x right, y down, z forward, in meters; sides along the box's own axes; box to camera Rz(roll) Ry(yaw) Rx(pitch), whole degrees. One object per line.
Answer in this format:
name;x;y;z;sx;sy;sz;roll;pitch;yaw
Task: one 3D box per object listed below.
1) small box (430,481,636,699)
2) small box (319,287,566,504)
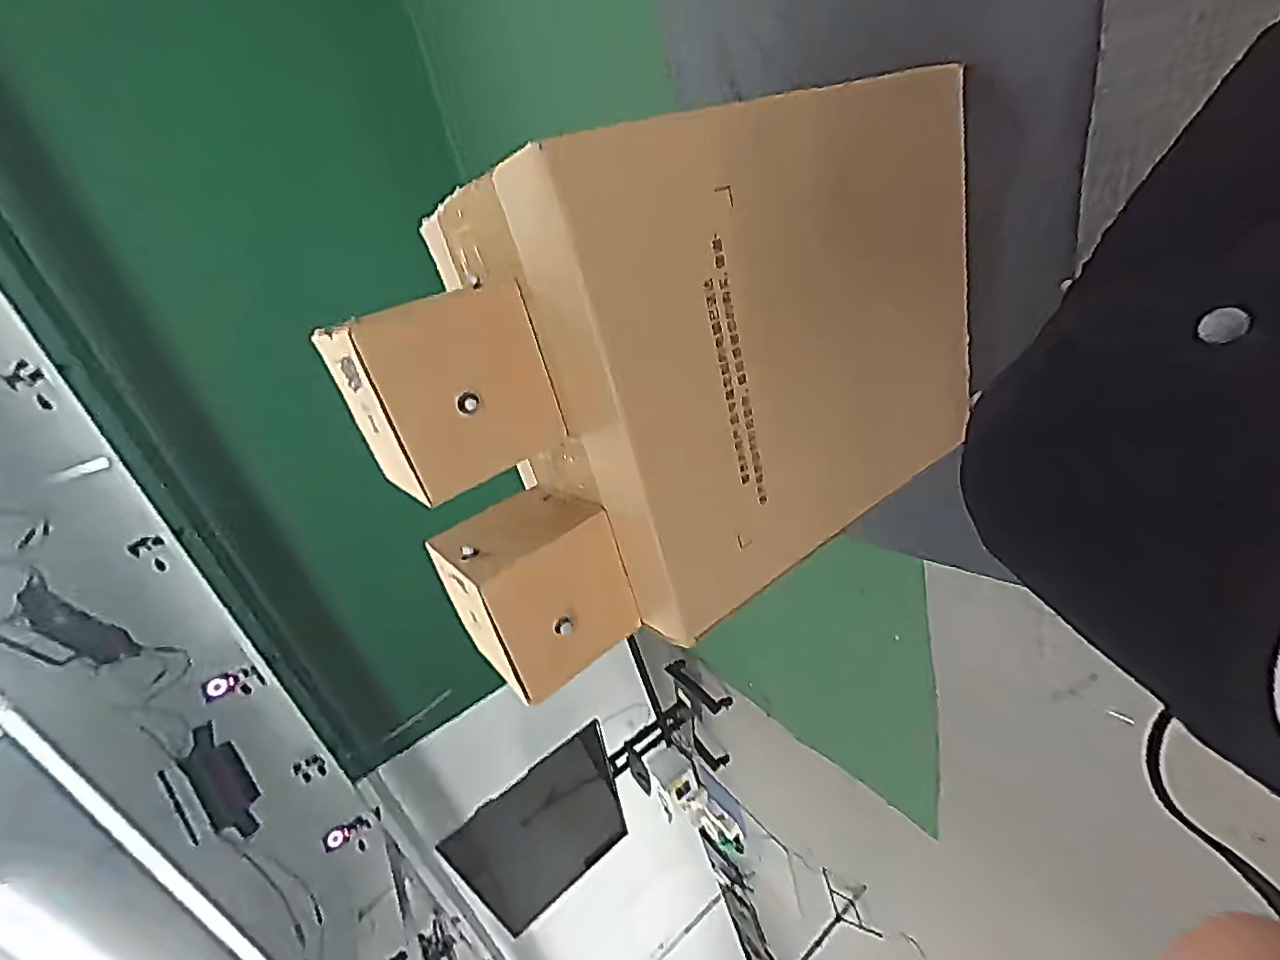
small box;-0.127;0.125;0.679;0.168;0.176;0.179;16;130;50
small box;-0.209;-0.103;0.591;0.168;0.176;0.179;17;131;49
